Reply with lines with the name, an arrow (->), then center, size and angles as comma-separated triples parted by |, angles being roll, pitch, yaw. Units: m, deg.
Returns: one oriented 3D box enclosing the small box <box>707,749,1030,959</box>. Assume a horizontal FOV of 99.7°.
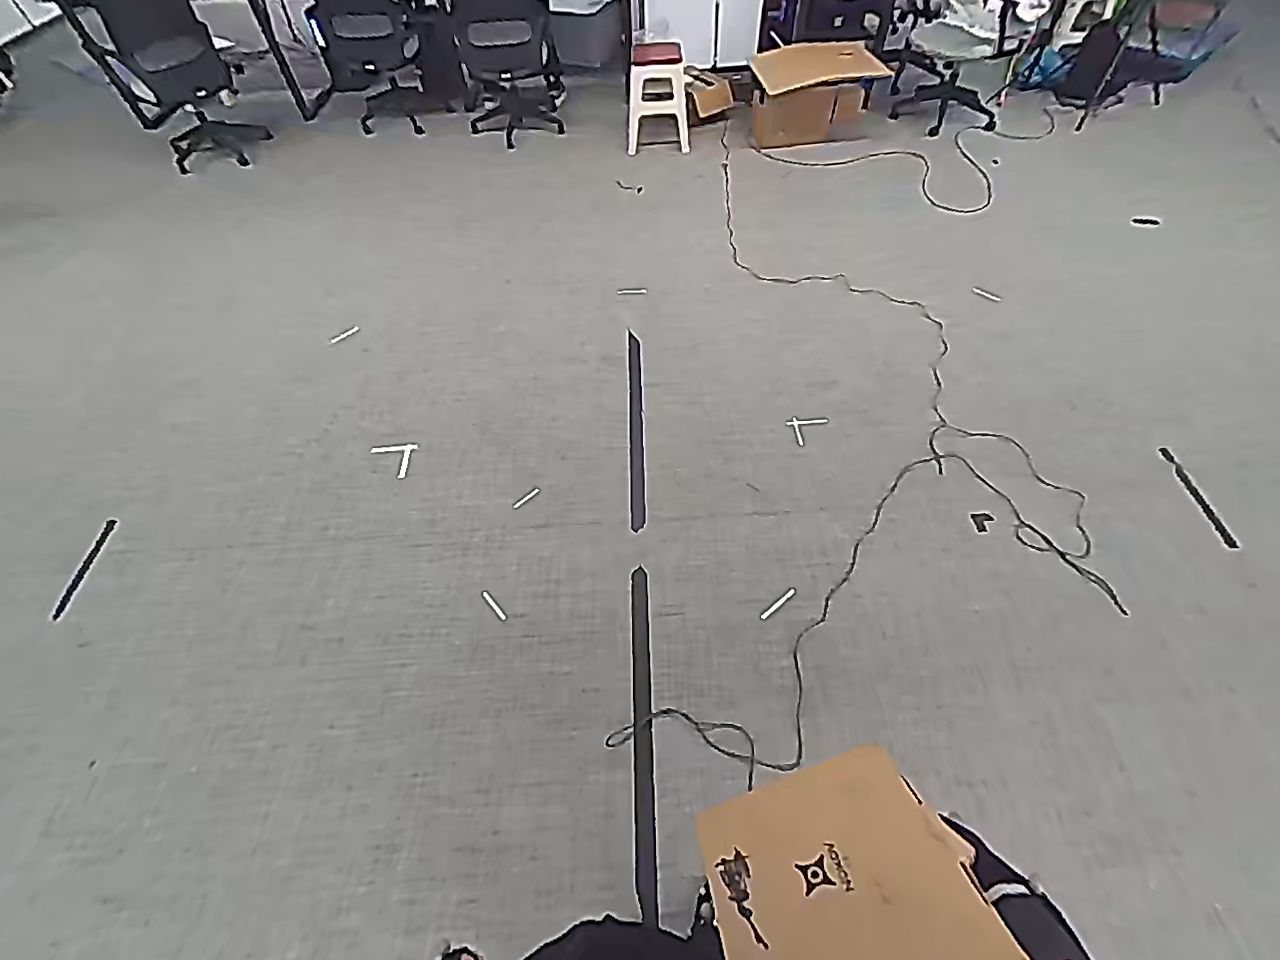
small box -> 0.173, 0.361, 0.425 | 0.179, 0.176, 0.168 | -21, 17, 1
